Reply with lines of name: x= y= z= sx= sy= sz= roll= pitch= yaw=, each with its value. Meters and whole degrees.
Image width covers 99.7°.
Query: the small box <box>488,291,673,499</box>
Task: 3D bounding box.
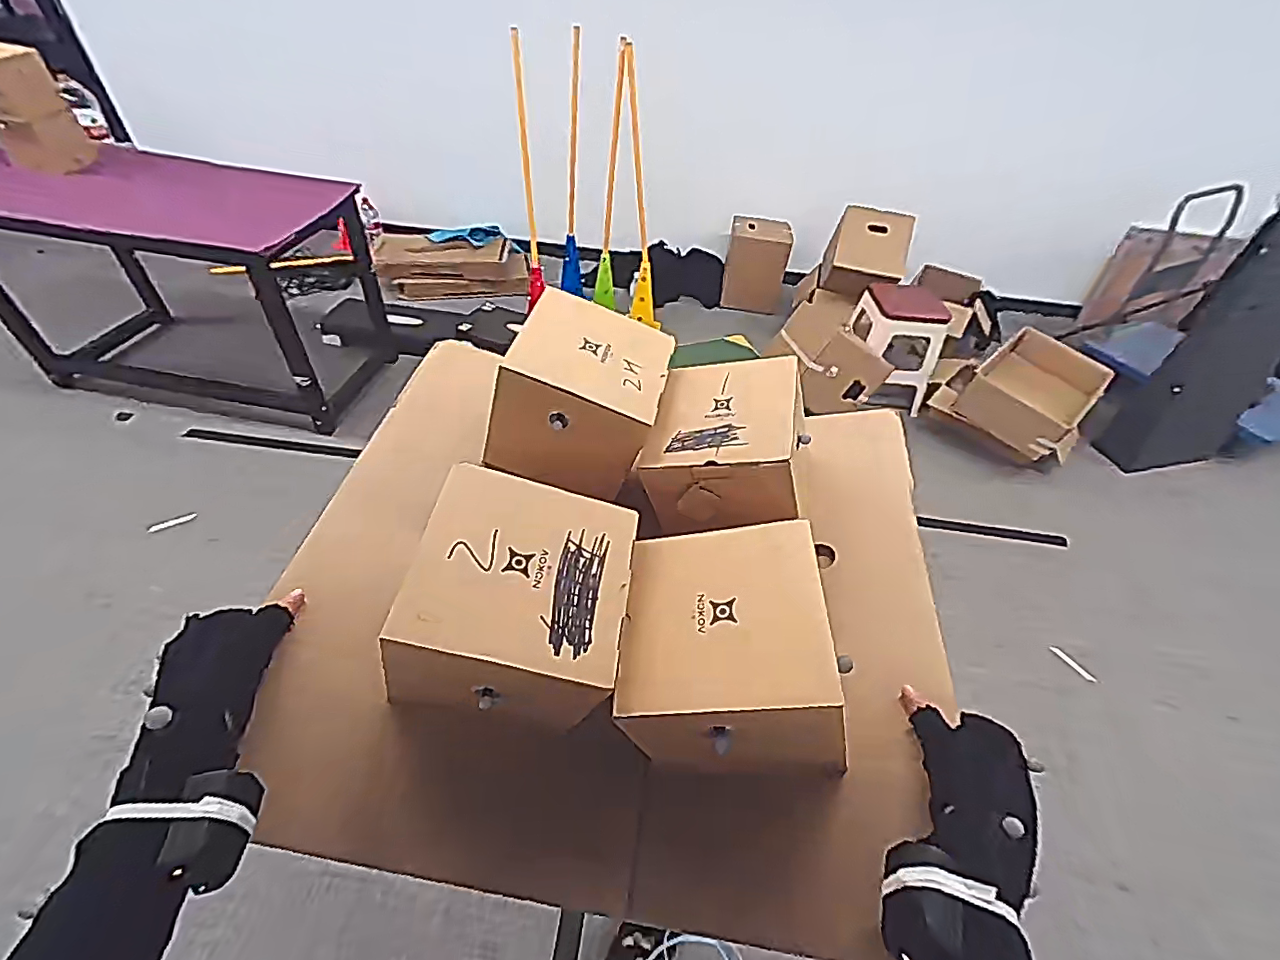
small box: x=-0.079 y=-0.101 z=0.690 sx=0.179 sy=0.176 sz=0.168 roll=22 pitch=50 yaw=-6
